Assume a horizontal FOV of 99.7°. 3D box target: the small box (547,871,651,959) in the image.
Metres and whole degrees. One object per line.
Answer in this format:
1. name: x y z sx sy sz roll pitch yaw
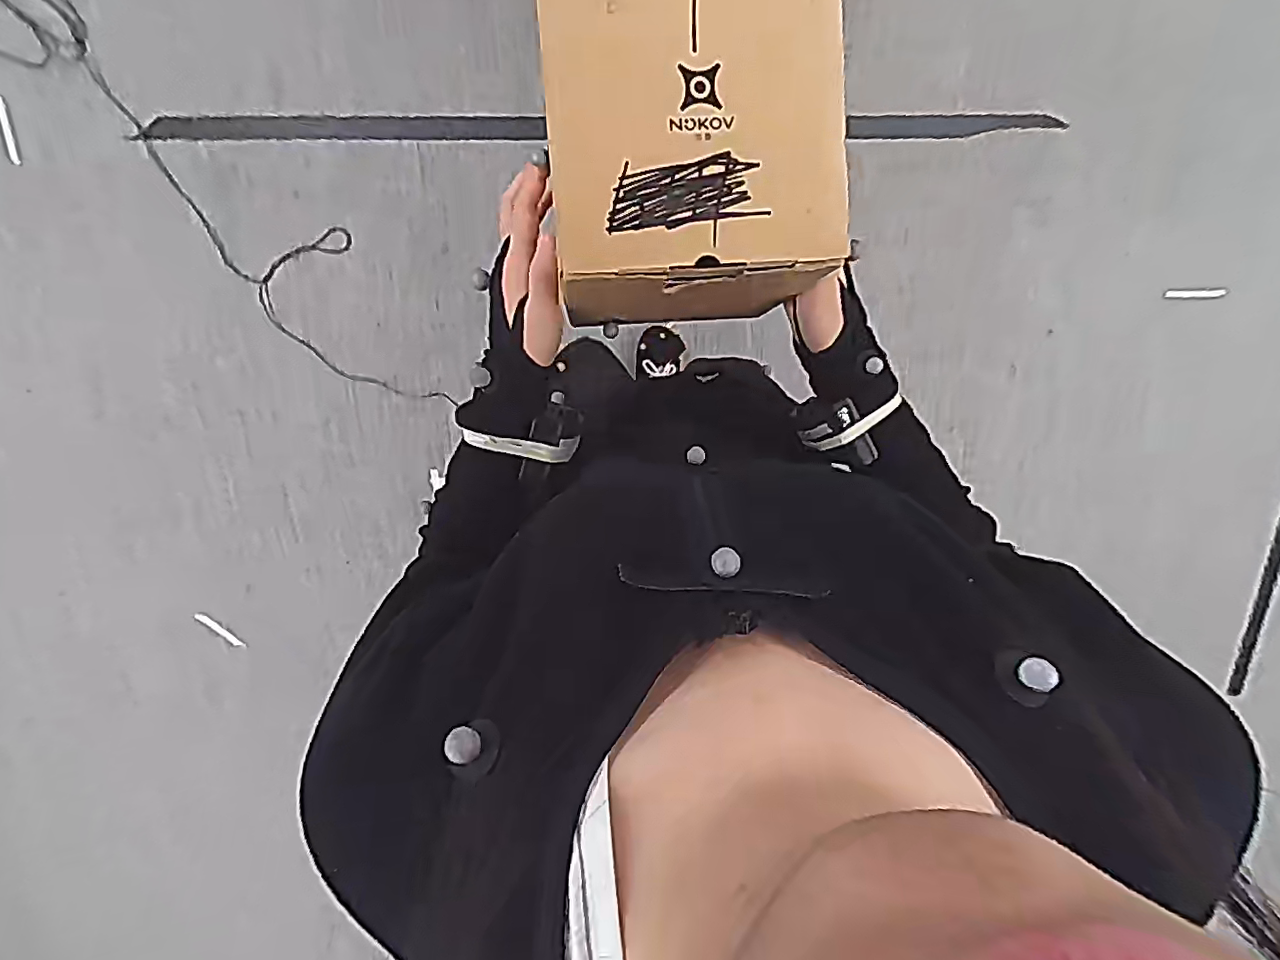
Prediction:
1. small box: -0.072 0.860 0.996 0.179 0.176 0.168 2 105 -1

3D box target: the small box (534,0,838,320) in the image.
1. small box: 0.023 -0.214 0.377 0.168 0.176 0.179 -5 96 -4
